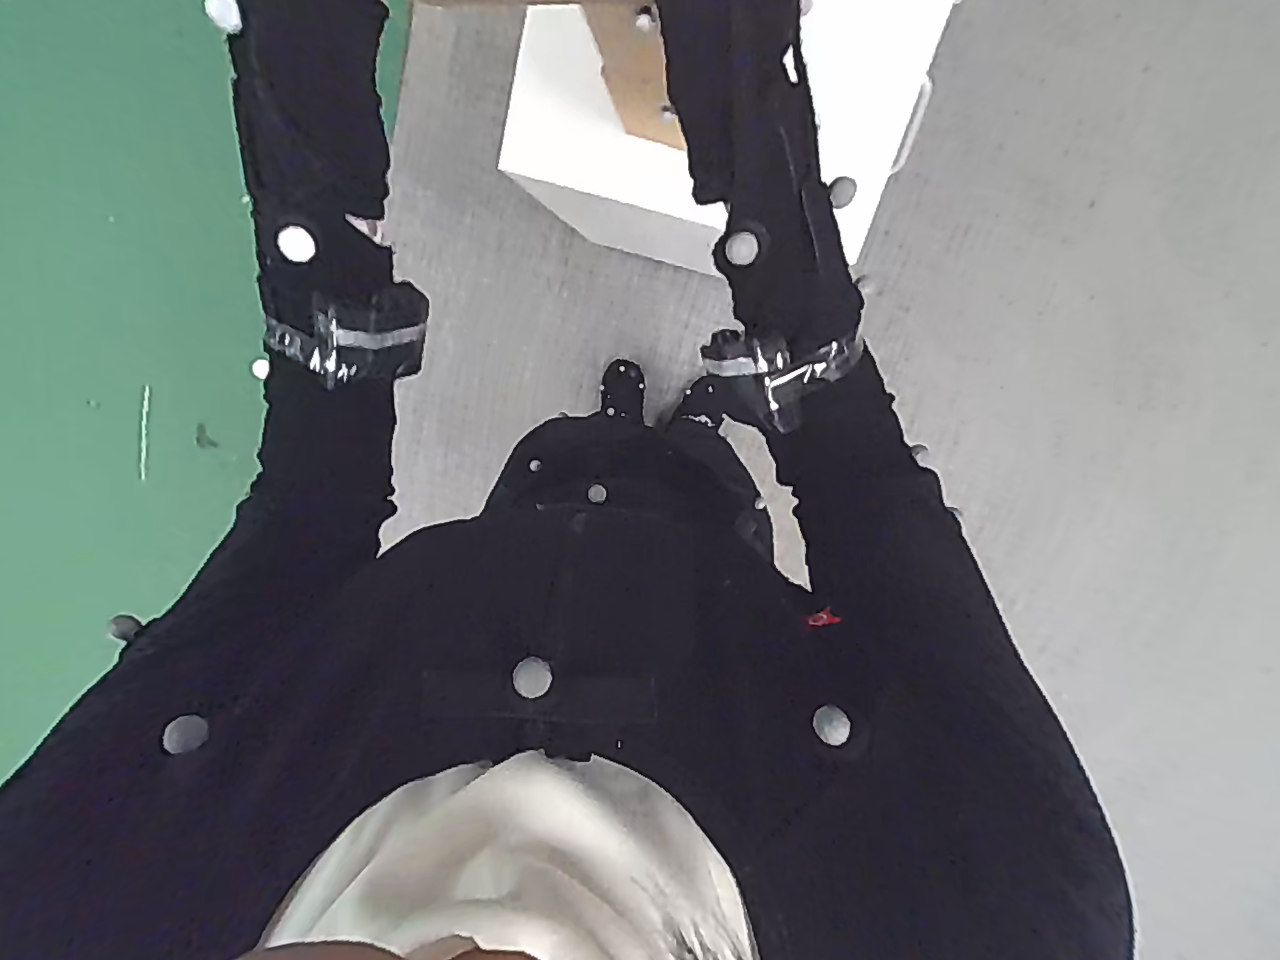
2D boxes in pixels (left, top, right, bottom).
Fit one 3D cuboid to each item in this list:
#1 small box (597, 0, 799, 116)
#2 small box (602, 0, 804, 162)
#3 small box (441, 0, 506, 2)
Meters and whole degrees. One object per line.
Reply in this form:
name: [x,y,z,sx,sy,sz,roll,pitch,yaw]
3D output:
small box: [0.061,-0.458,0.462,0.168,0.176,0.179,18,106,3]
small box: [0.076,-0.494,0.618,0.179,0.176,0.168,19,106,3]
small box: [-0.060,-0.322,0.223,0.179,0.176,0.168,2,123,6]
